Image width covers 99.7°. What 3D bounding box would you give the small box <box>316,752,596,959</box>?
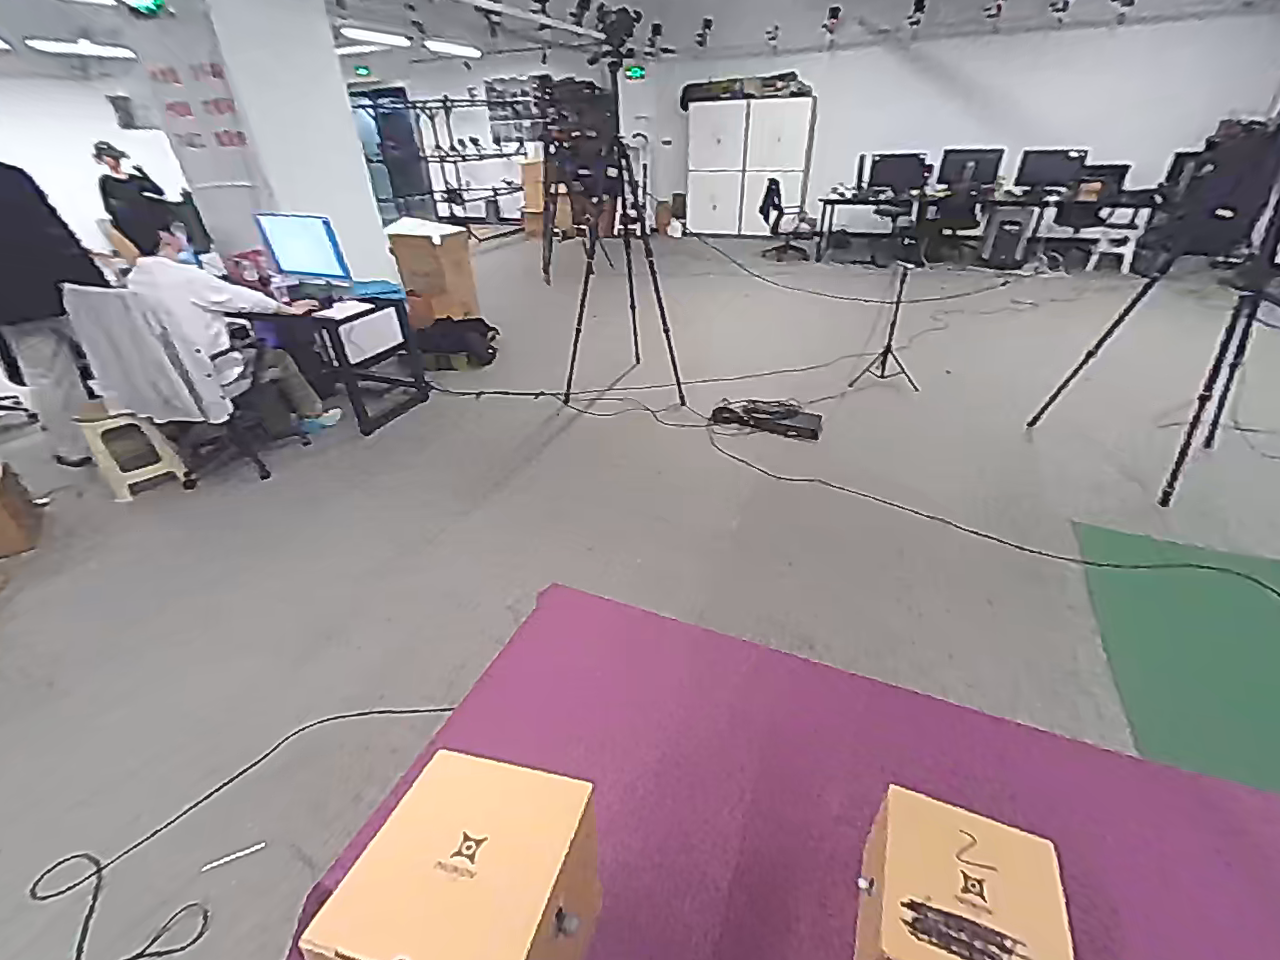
[{"bbox_3d":[-0.143,0.391,0.486,0.168,0.176,0.179,4,22,15],"label":"small box"}]
